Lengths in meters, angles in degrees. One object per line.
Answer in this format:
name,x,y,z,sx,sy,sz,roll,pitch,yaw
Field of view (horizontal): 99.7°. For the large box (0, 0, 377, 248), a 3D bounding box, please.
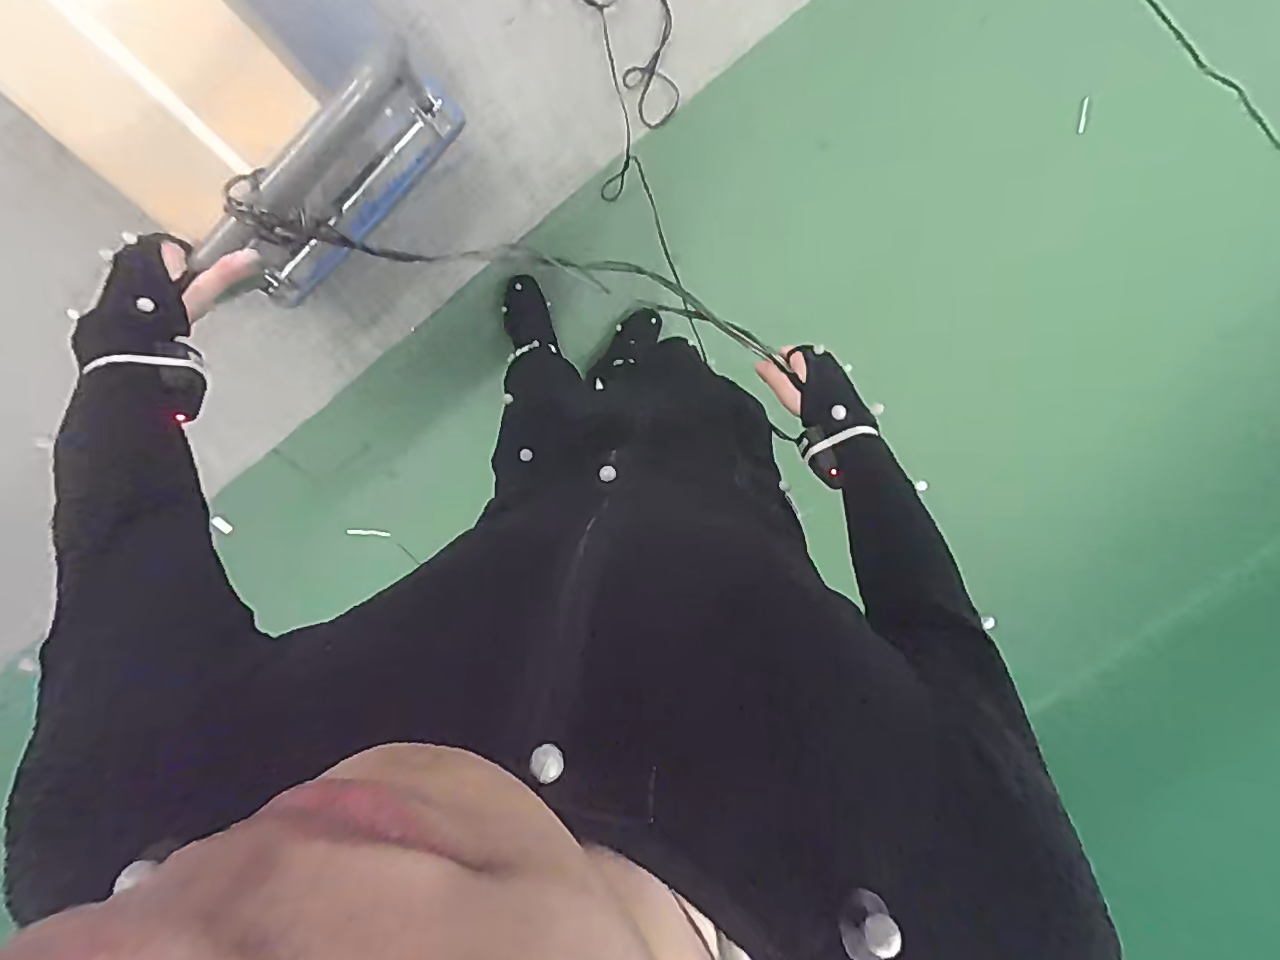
large box,-0.732,-0.652,0.889,0.320,0.320,0.408,-41,116,7
